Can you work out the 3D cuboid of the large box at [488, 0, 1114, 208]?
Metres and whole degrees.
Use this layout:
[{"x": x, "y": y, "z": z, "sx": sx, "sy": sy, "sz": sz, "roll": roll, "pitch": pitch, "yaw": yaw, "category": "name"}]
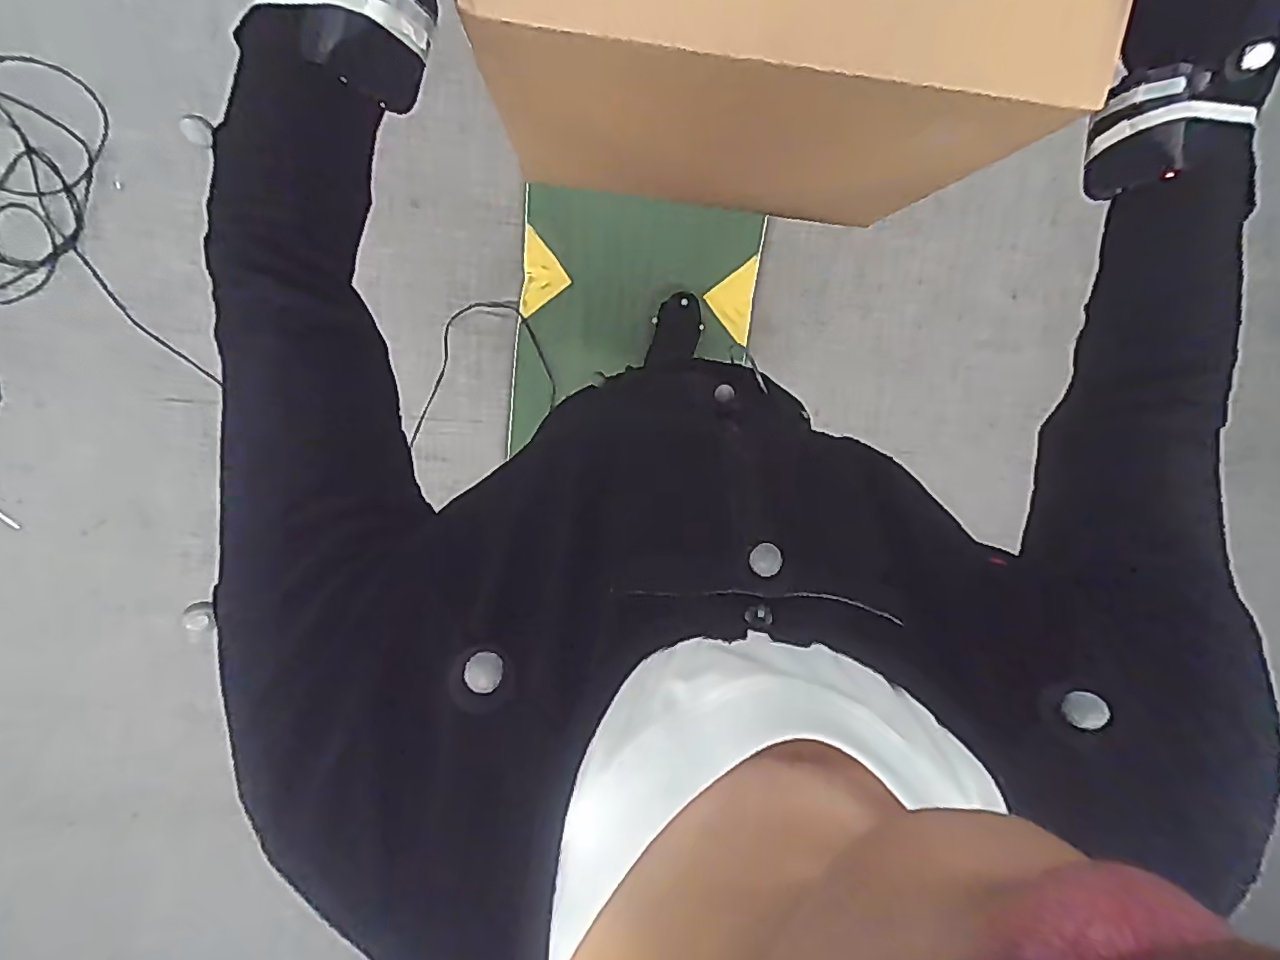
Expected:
[{"x": 0.100, "y": -0.448, "z": 0.450, "sx": 0.408, "sy": 0.320, "sz": 0.320, "roll": 4, "pitch": 103, "yaw": -6, "category": "large box"}]
